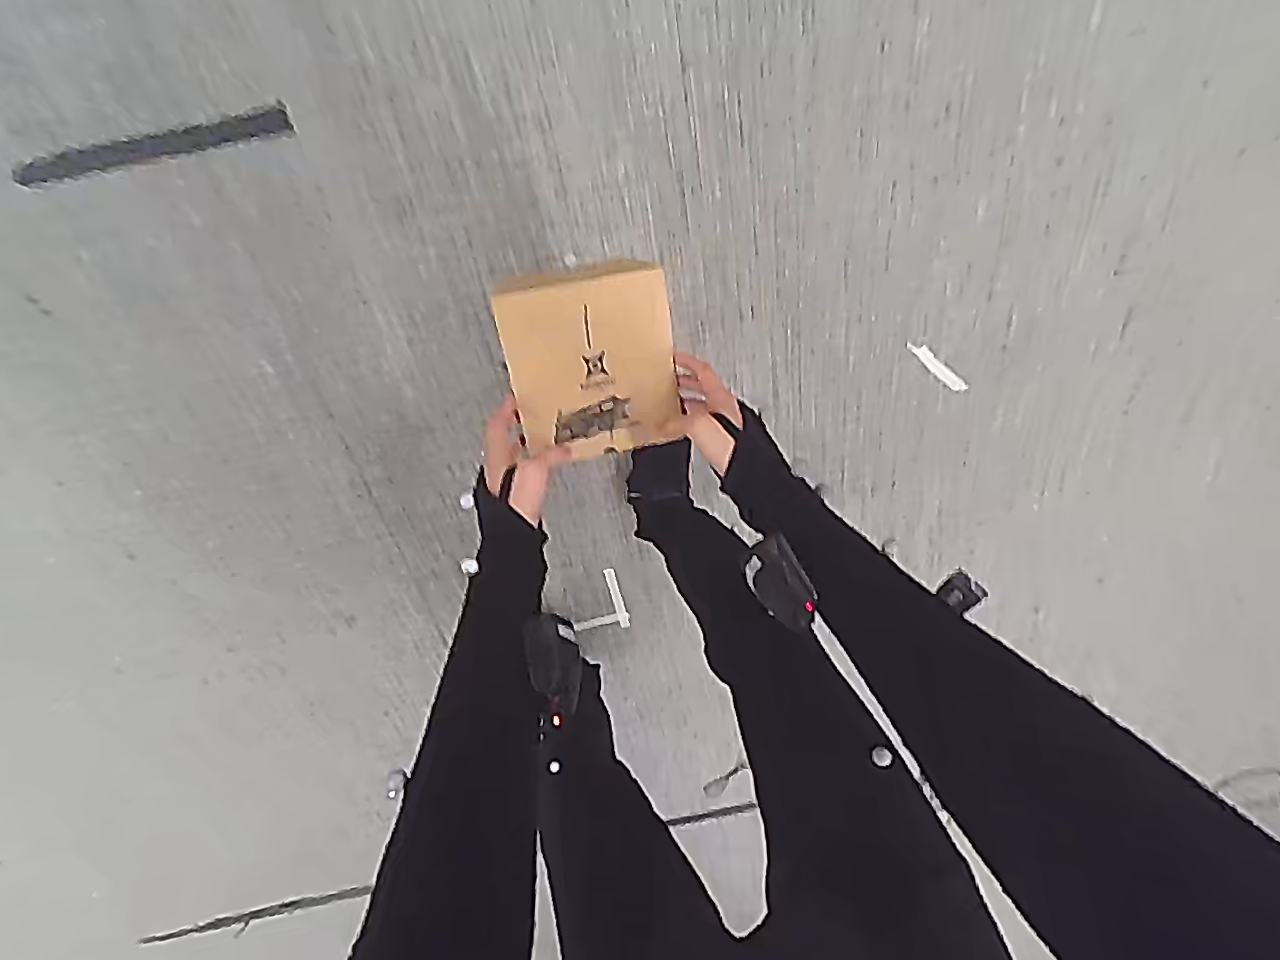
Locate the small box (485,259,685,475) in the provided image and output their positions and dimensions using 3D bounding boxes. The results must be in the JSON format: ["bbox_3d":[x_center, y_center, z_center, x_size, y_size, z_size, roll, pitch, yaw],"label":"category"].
[{"bbox_3d":[-0.060,-0.130,0.582,0.168,0.176,0.179,-14,116,-8],"label":"small box"}]
